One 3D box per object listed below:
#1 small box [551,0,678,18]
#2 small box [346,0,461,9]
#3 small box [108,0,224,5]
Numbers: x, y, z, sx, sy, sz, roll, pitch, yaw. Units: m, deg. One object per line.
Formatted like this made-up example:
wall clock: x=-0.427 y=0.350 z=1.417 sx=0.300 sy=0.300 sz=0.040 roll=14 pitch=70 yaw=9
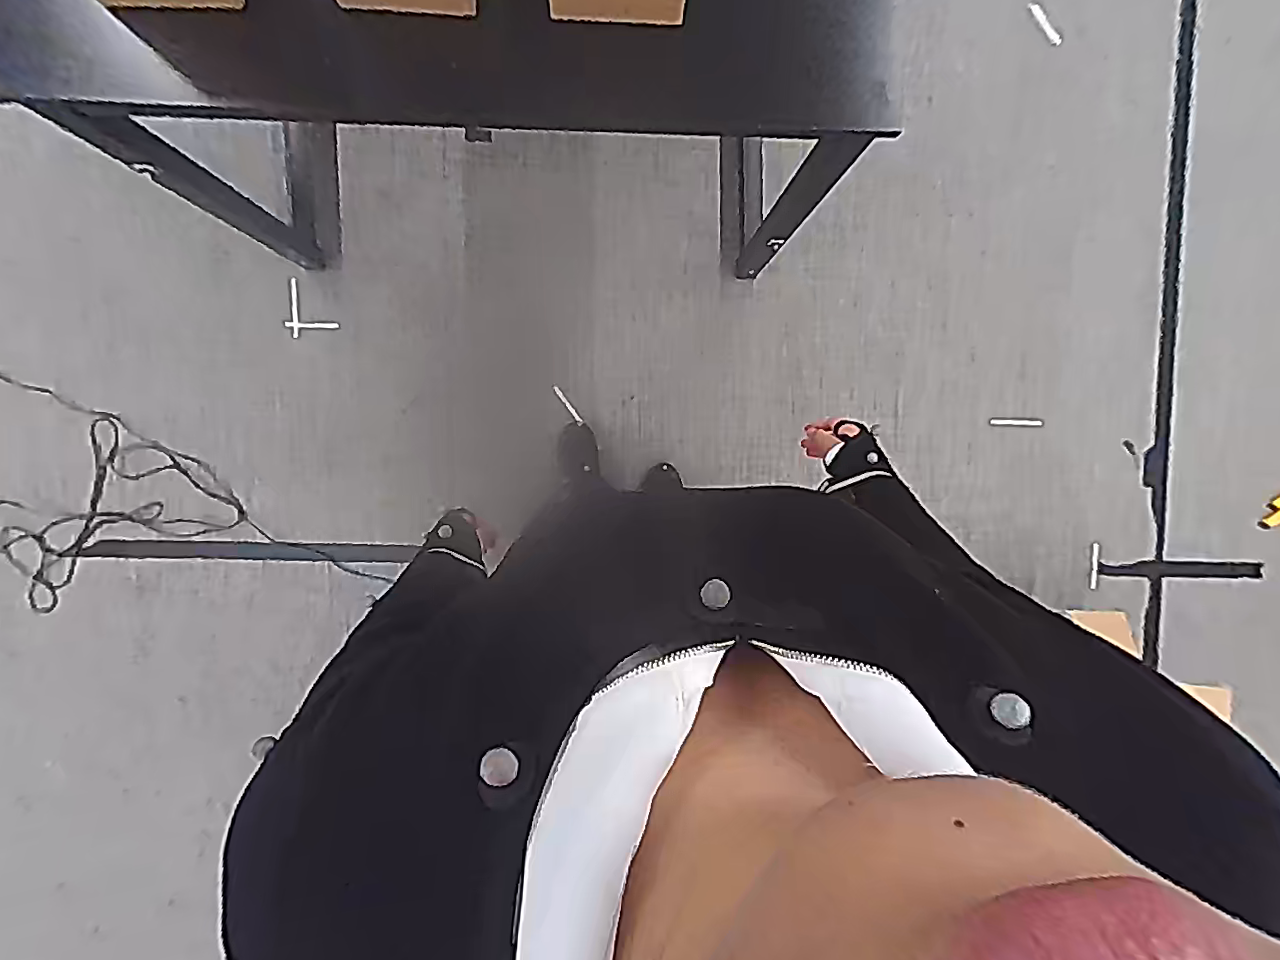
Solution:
small box: x=-0.025 y=-0.690 z=0.634 sx=0.179 sy=0.176 sz=0.168 roll=0 pitch=93 yaw=-3
small box: x=-0.295 y=-0.690 z=0.619 sx=0.179 sy=0.176 sz=0.168 roll=1 pitch=93 yaw=-3
small box: x=-0.590 y=-0.681 z=0.604 sx=0.179 sy=0.176 sz=0.168 roll=-2 pitch=93 yaw=-3
